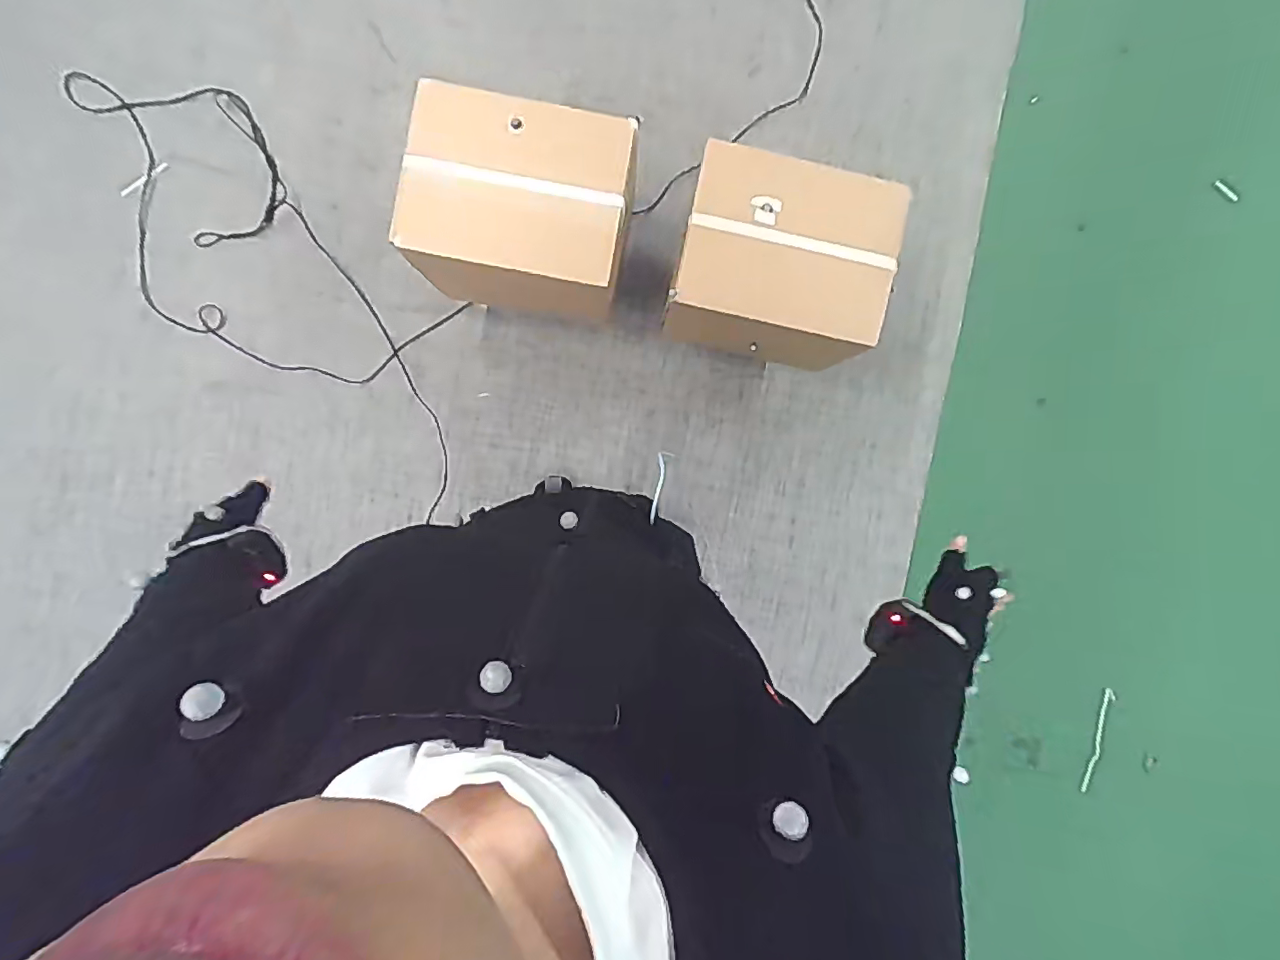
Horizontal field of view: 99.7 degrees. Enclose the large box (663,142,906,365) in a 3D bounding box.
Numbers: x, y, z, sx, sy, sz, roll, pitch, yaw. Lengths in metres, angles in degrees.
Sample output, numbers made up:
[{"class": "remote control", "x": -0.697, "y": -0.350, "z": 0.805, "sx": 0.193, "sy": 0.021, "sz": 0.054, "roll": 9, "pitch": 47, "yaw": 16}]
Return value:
[{"class": "large box", "x": 0.285, "y": -0.461, "z": 1.184, "sx": 0.408, "sy": 0.320, "sz": 0.320, "roll": 13, "pitch": 92, "yaw": -3}]
